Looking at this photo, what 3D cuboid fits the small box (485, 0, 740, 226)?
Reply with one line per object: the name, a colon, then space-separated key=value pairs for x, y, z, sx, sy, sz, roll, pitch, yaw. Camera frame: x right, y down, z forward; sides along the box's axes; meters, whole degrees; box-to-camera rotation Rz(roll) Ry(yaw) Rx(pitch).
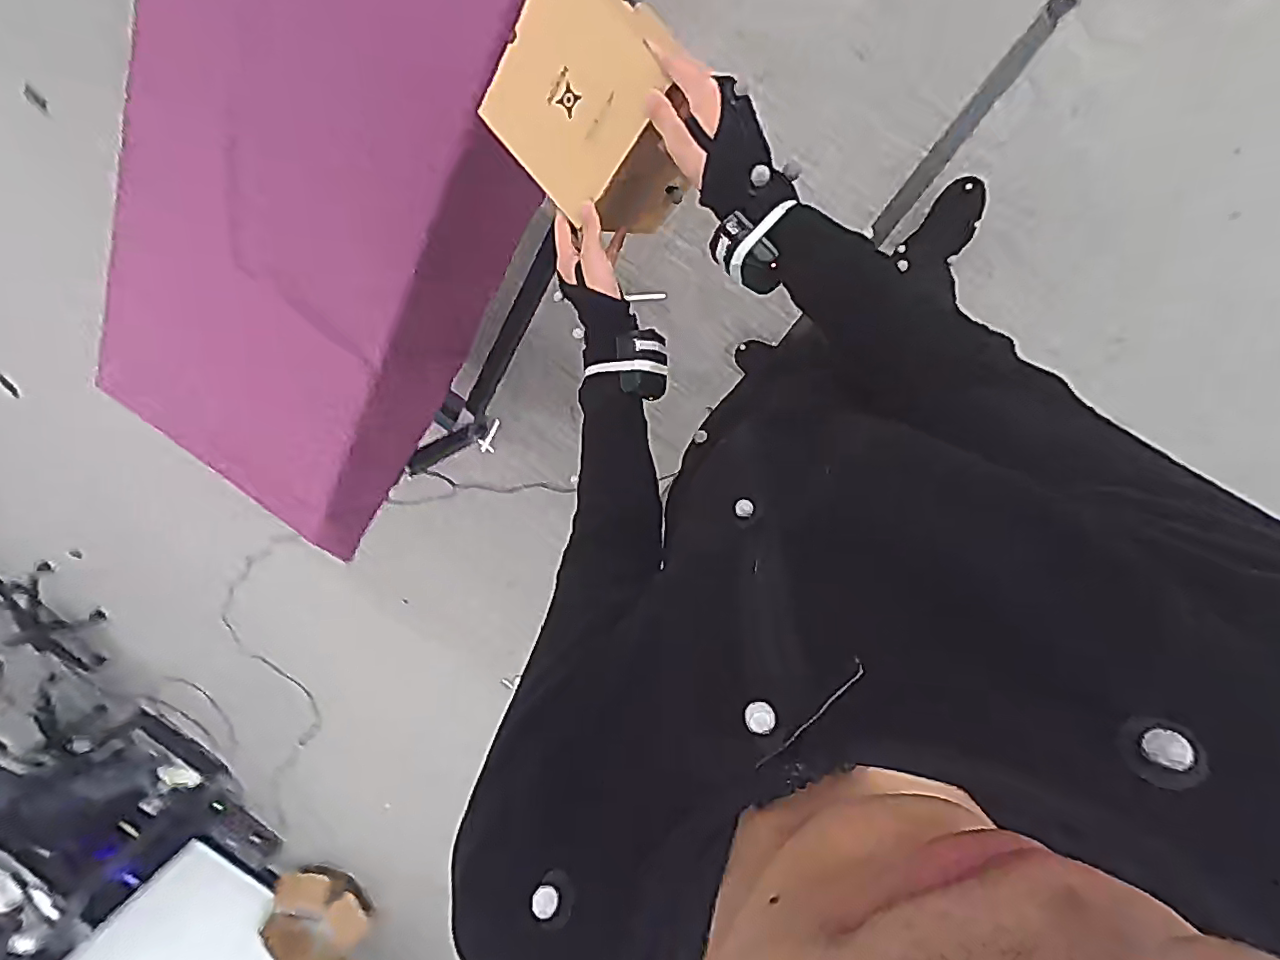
small box: x=-0.025 y=-0.400 z=0.587 sx=0.179 sy=0.176 sz=0.168 roll=52 pitch=127 yaw=4
